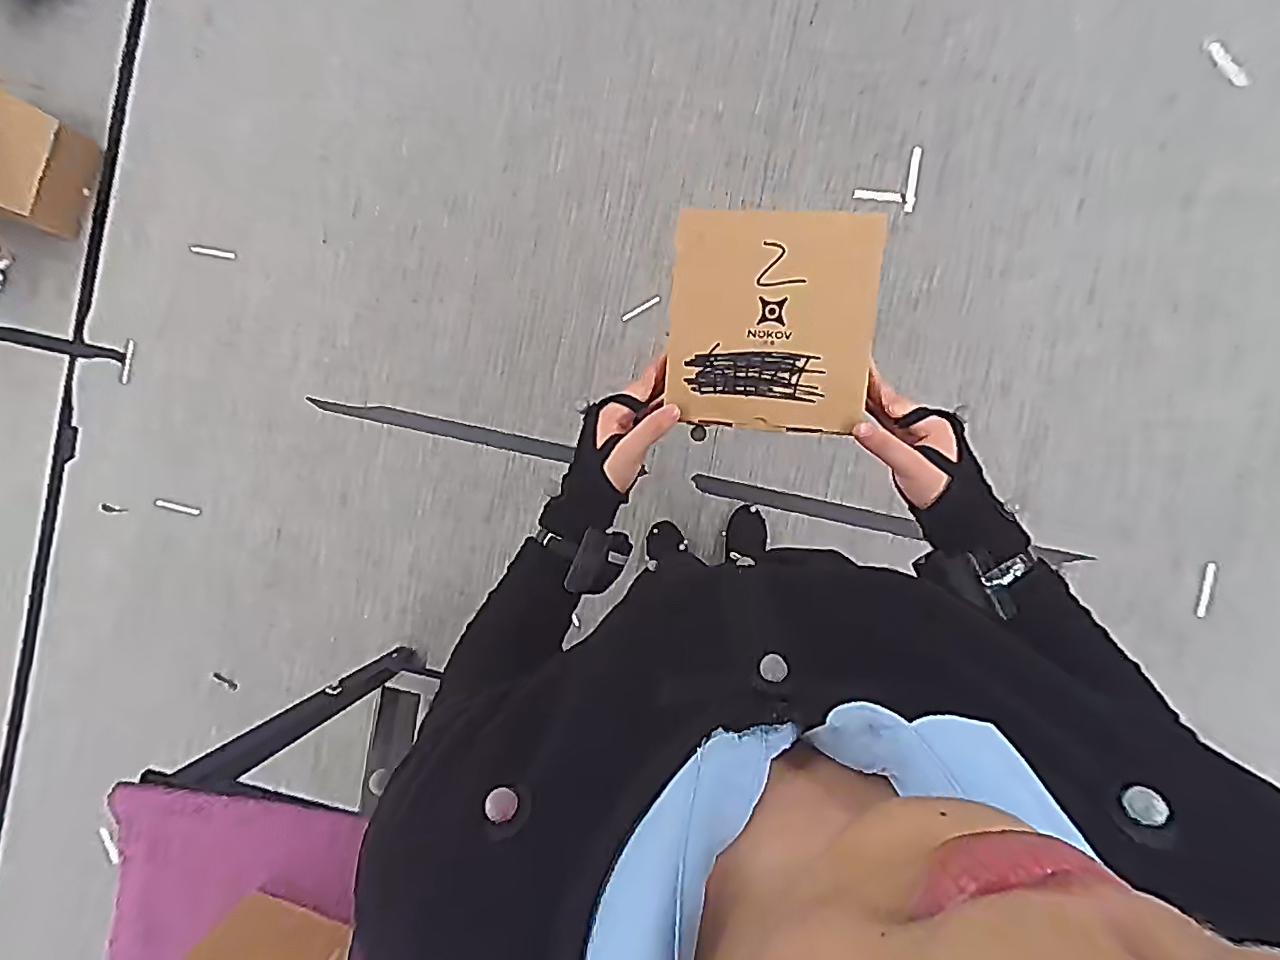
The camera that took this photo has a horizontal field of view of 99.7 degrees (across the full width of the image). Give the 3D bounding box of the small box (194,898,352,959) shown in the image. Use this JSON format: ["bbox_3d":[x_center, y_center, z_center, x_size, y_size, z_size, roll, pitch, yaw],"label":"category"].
[{"bbox_3d":[-0.540,0.737,0.751,0.179,0.176,0.168,14,93,7],"label":"small box"}]
